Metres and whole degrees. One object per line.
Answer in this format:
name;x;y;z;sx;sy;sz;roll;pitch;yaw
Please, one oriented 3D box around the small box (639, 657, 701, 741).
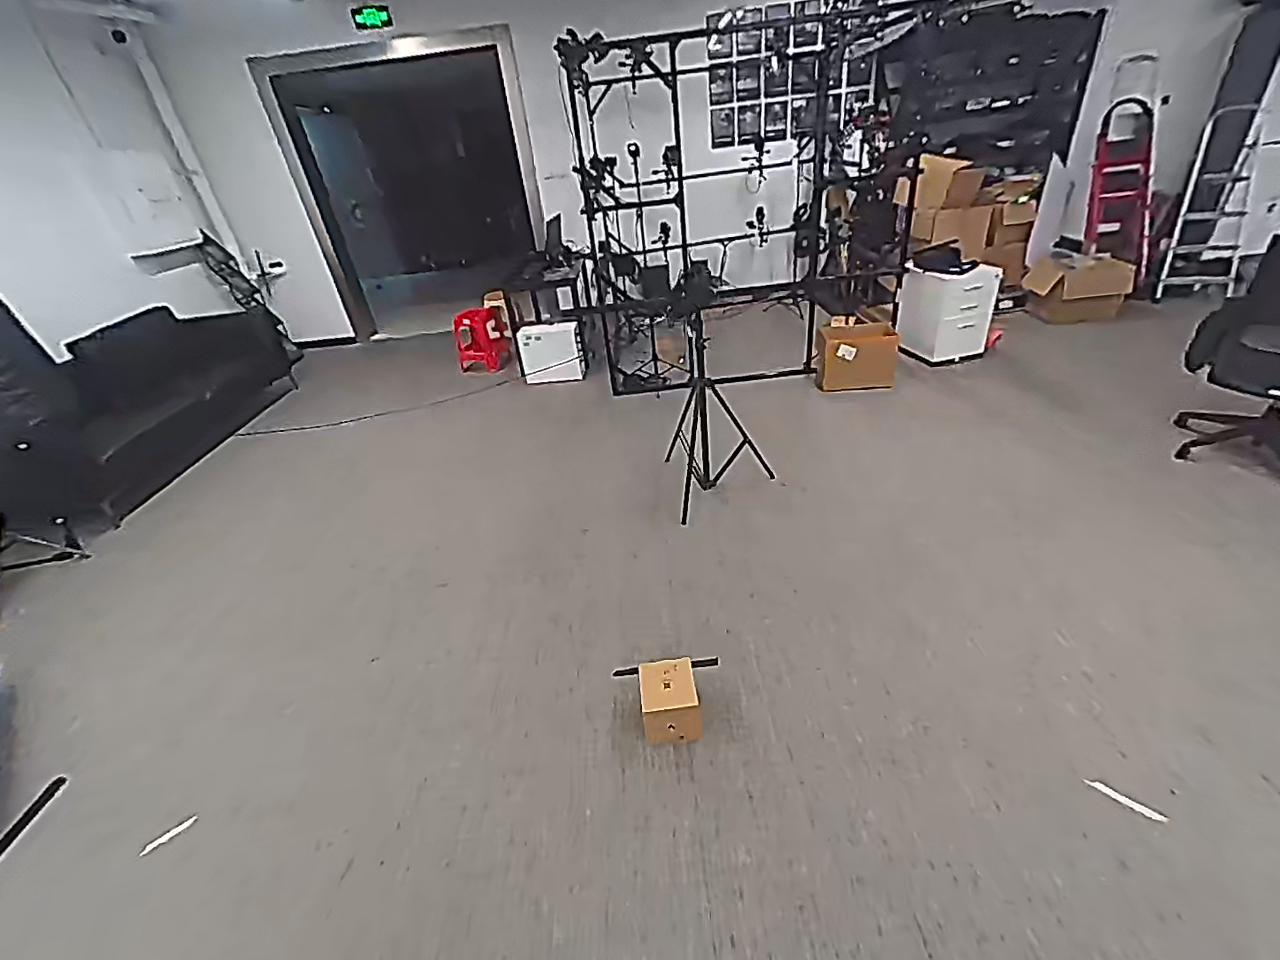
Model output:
small box;0.091;0.675;1.657;0.168;0.176;0.179;-7;31;0
